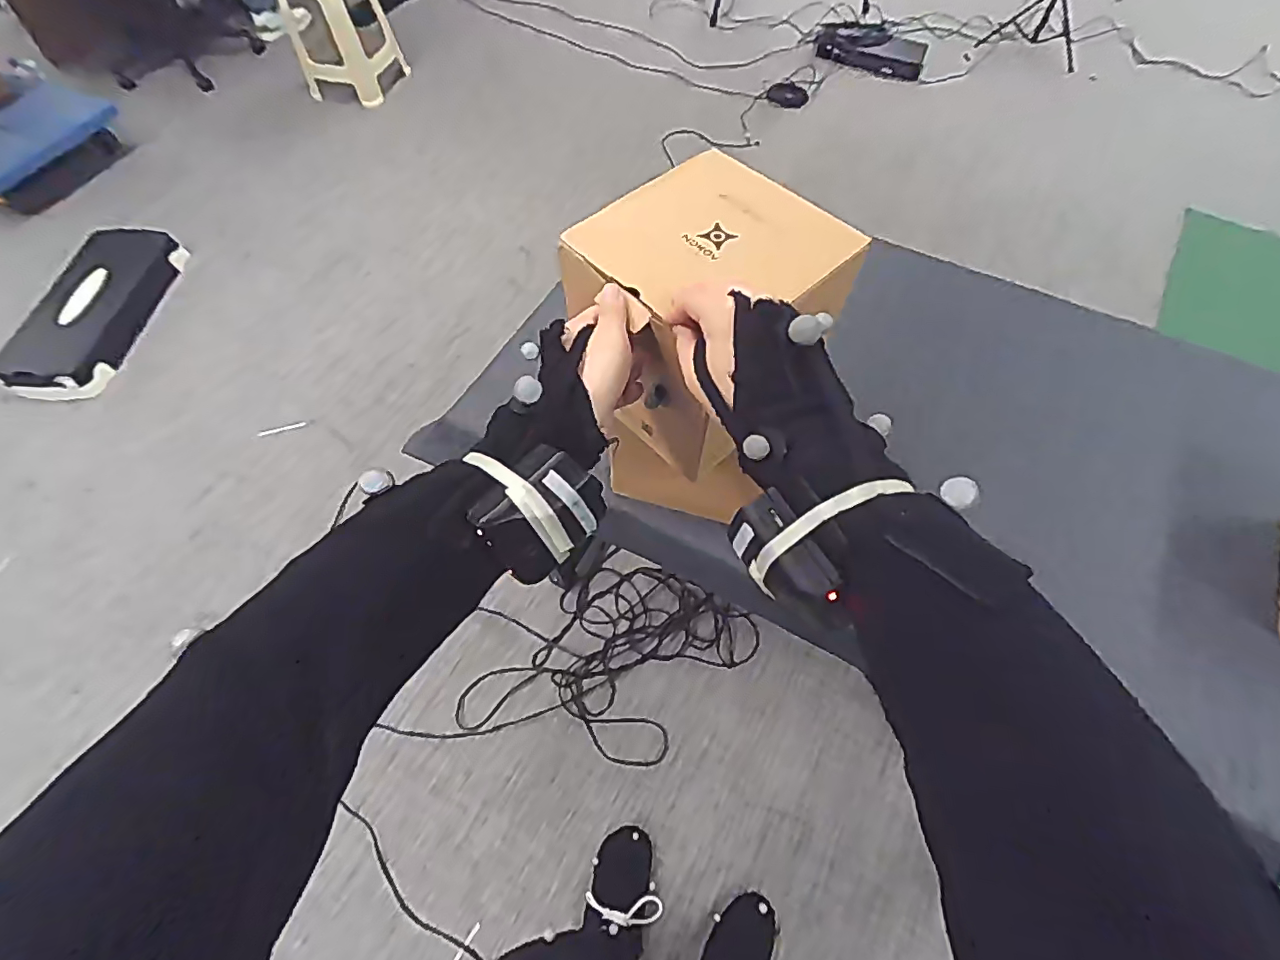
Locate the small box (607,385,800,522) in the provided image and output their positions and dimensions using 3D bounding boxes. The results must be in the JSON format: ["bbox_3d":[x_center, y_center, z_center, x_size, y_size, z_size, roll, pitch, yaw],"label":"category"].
[{"bbox_3d":[0.074,-0.070,0.620,0.179,0.176,0.168,15,62,9],"label":"small box"}]

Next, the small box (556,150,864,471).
[{"bbox_3d":[0.053,-0.139,0.473,0.179,0.176,0.168,-39,69,-20],"label":"small box"}]
